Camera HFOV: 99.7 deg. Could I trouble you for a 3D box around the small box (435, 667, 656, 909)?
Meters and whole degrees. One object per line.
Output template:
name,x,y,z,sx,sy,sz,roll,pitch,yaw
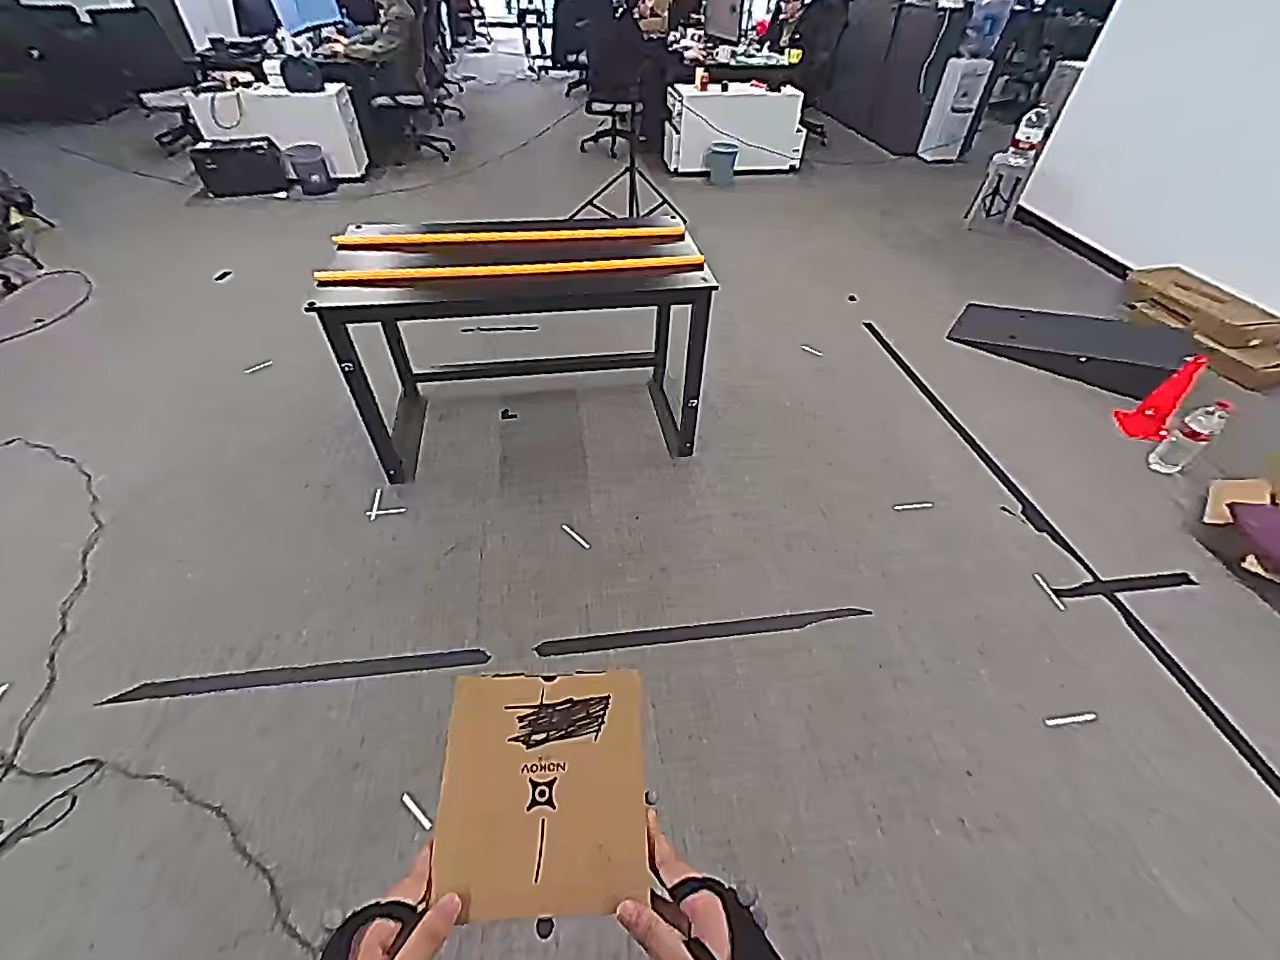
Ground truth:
small box,-0.075,0.291,0.511,0.168,0.176,0.179,0,53,-3
